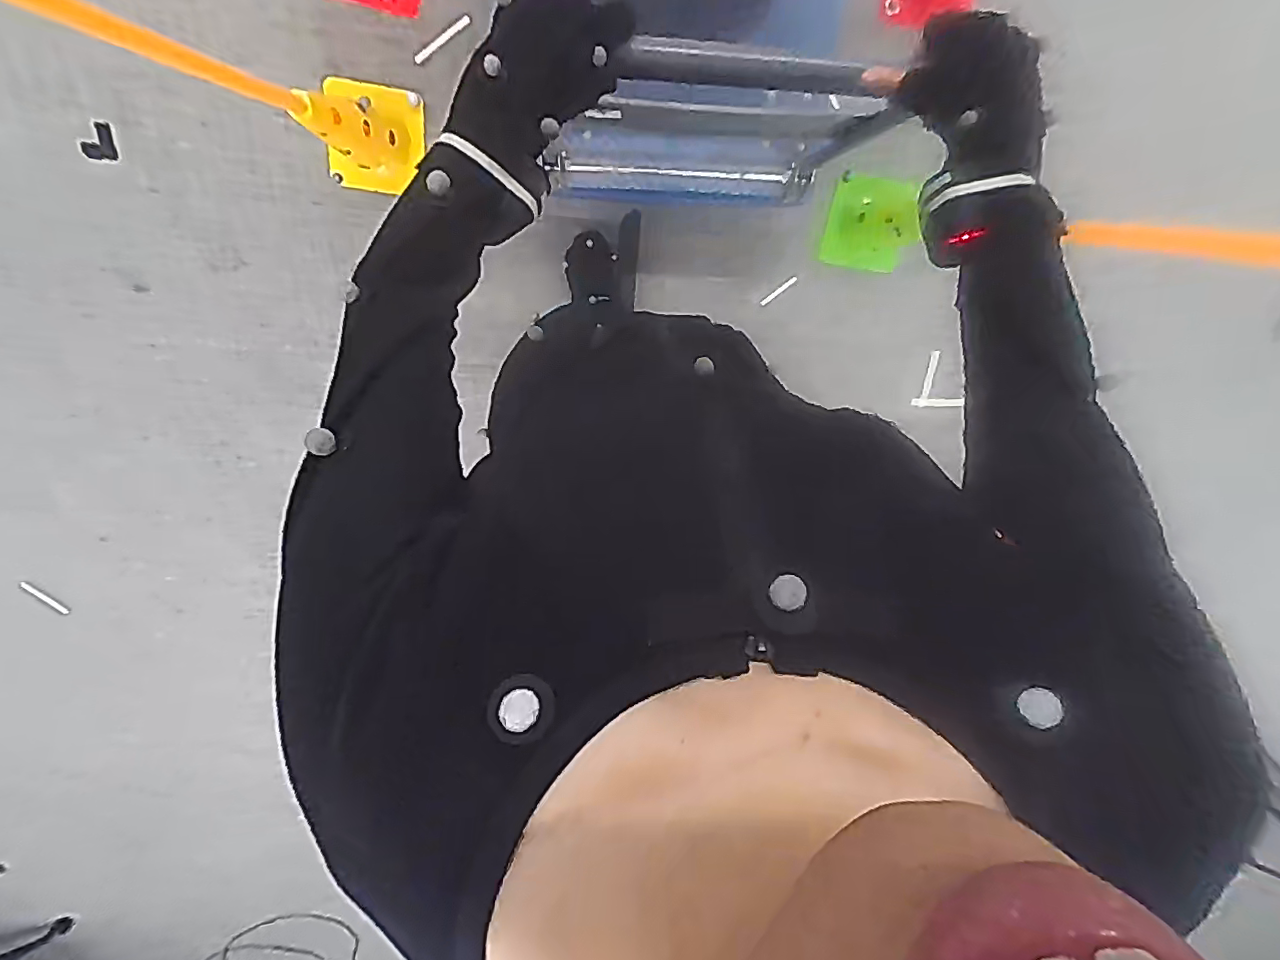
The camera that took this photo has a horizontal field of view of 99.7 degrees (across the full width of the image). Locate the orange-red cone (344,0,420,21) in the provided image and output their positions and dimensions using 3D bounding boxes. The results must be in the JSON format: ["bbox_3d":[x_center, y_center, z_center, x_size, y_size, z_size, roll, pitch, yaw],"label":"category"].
[{"bbox_3d":[-0.505,-0.957,0.882,0.198,0.360,0.199,9,112,-10],"label":"orange-red cone"}]

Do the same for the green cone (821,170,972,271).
[{"bbox_3d":[0.569,-0.553,1.154,0.202,0.368,0.200,5,114,-9],"label":"green cone"}]

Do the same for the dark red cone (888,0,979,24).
[{"bbox_3d":[0.627,-0.986,0.943,0.201,0.394,0.202,1,115,-8],"label":"dark red cone"}]
